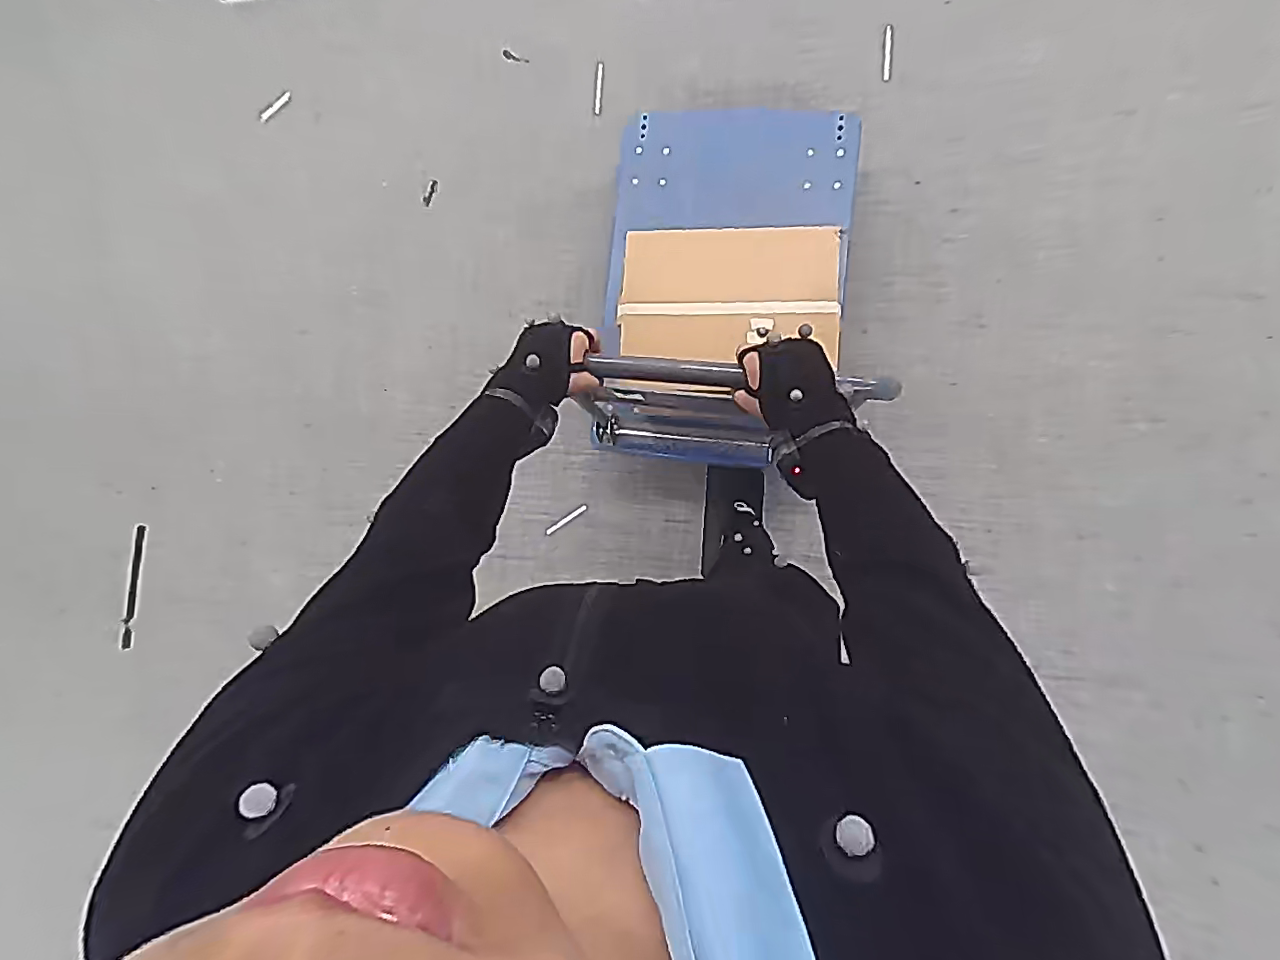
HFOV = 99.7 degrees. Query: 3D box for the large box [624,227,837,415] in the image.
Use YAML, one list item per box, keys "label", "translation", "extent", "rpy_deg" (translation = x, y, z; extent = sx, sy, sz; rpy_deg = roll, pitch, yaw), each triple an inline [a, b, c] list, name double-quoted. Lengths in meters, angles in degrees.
- label: "large box"
  translation: [0.186, -0.320, 1.179]
  extent: [0.408, 0.320, 0.320]
  rpy_deg: [2, 88, 8]
